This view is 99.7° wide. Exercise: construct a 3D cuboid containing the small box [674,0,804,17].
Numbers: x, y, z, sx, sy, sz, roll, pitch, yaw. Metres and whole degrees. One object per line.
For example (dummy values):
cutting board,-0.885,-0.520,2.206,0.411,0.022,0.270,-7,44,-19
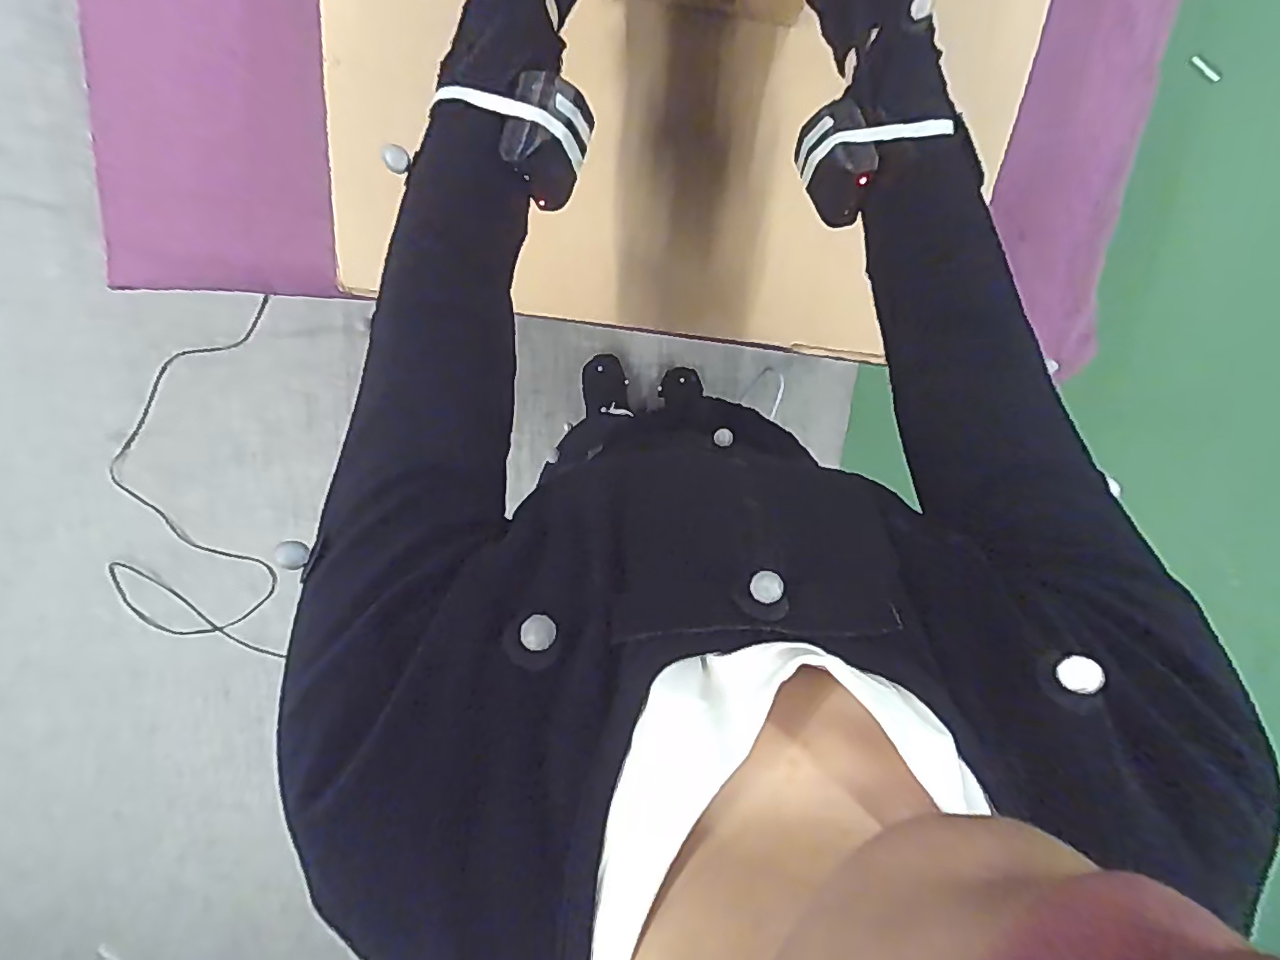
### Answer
small box,0.062,-0.454,0.356,0.168,0.176,0.179,4,104,-2
